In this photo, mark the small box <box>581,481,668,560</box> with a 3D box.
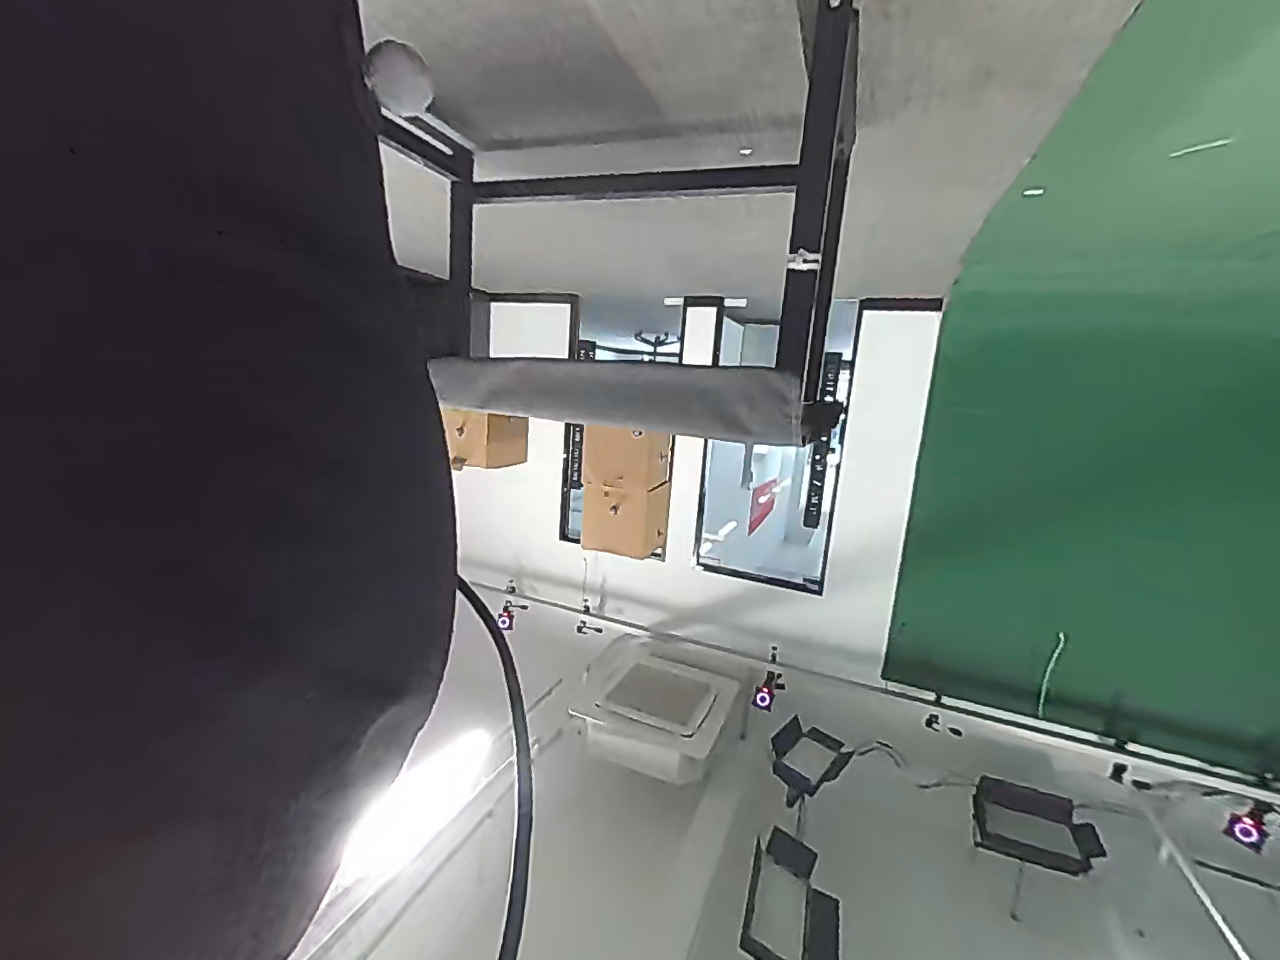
[{"bbox_3d":[-0.034,0.083,1.350,0.168,0.176,0.179,7,-169,19],"label":"small box"}]

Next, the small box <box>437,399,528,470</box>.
[{"bbox_3d":[-0.414,-0.127,1.429,0.168,0.176,0.179,9,-169,23],"label":"small box"}]

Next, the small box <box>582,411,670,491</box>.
[{"bbox_3d":[-0.030,-0.077,1.306,0.168,0.176,0.179,8,-168,17],"label":"small box"}]
